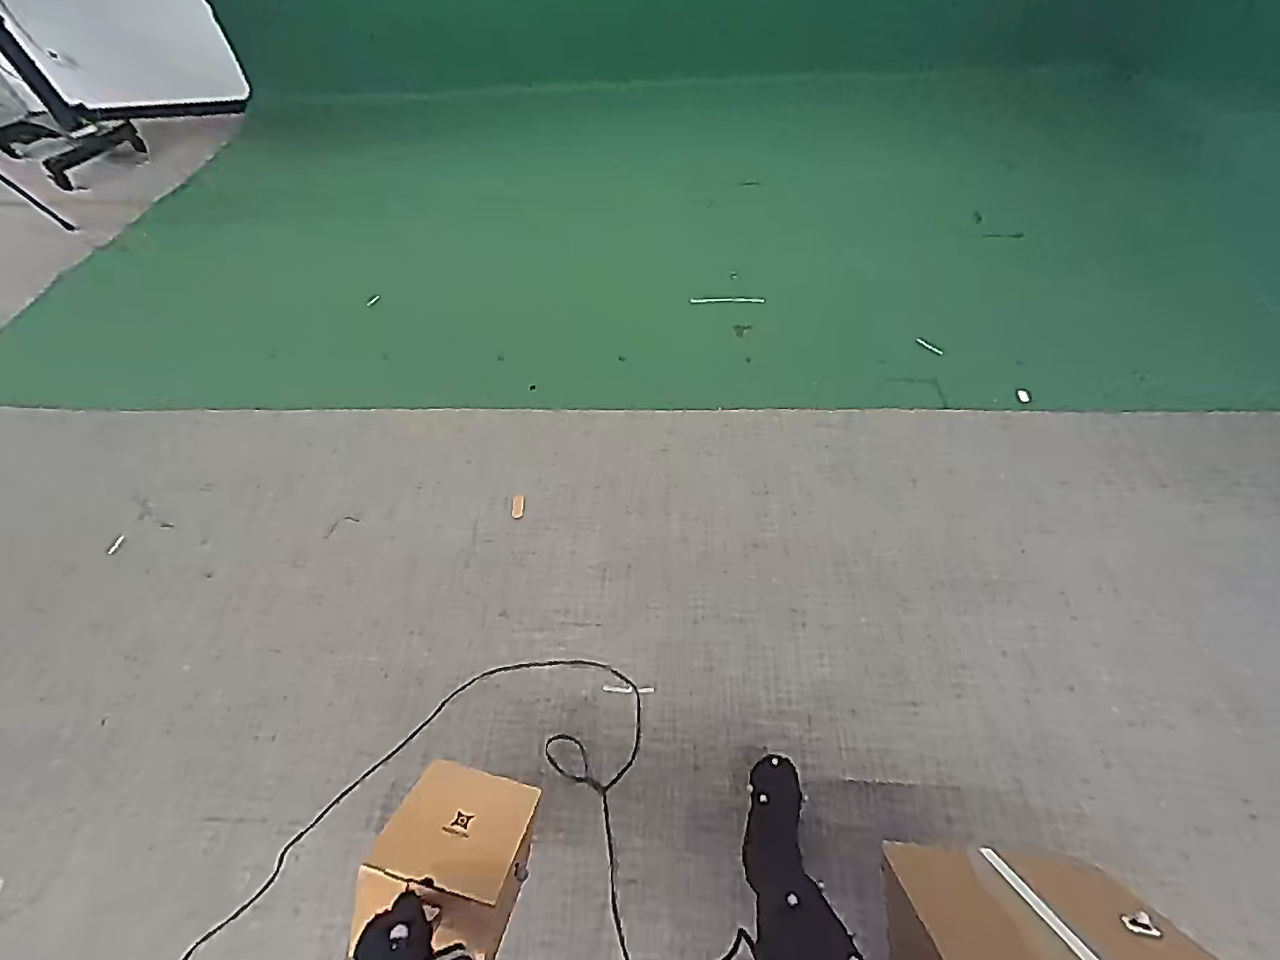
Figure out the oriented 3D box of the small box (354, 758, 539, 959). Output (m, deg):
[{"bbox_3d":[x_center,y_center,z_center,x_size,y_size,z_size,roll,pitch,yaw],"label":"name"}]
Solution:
[{"bbox_3d":[-0.252,0.518,0.715,0.168,0.176,0.179,15,15,4],"label":"small box"}]
